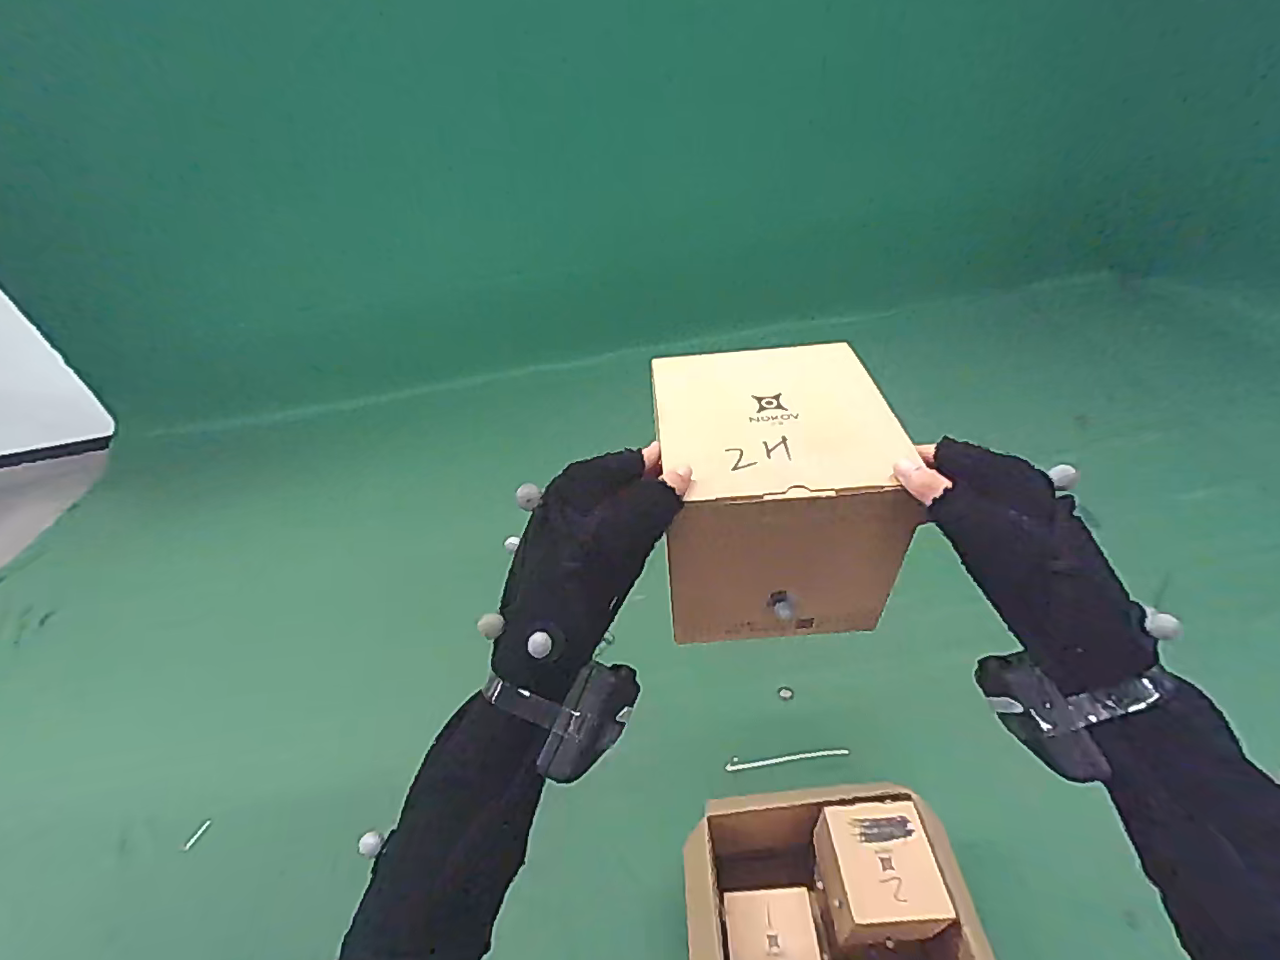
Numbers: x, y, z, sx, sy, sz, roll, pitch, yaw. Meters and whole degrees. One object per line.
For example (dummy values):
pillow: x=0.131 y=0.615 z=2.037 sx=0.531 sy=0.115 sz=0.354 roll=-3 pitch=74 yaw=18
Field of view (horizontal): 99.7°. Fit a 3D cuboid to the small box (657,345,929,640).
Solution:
small box: x=0.101 y=0.009 z=0.449 sx=0.168 sy=0.176 sz=0.179 roll=-5 pitch=42 yaw=2
